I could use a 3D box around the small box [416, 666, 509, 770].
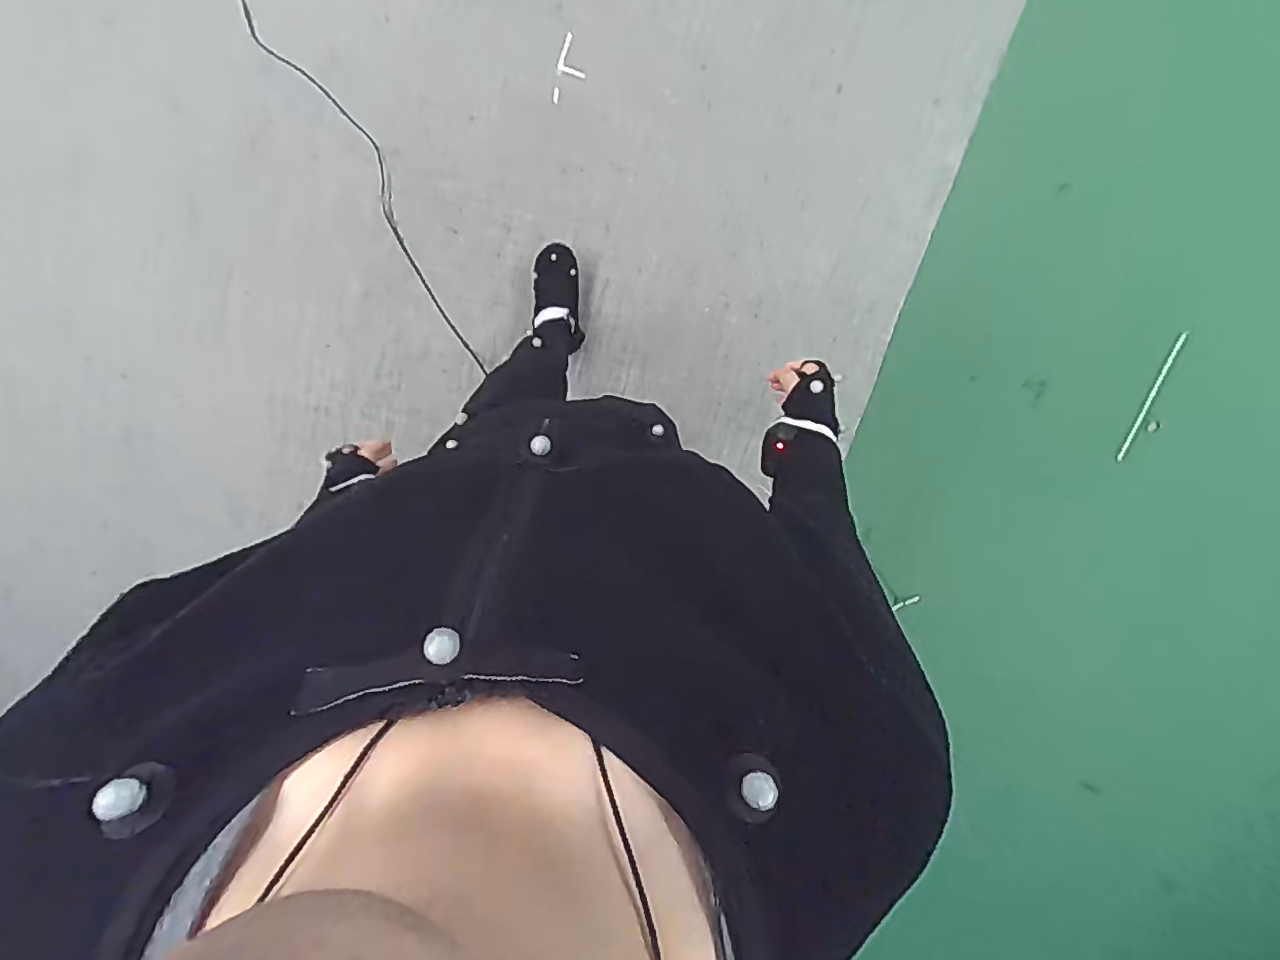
[{"bbox_3d":[-0.451,0.606,1.394,0.179,0.176,0.168,12,103,-7],"label":"small box"}]

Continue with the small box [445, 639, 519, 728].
[{"bbox_3d":[-0.459,0.578,1.555,0.179,0.176,0.168,12,103,-6],"label":"small box"}]

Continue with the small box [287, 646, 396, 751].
[{"bbox_3d":[-0.745,0.541,1.362,0.179,0.176,0.168,14,103,-7],"label":"small box"}]
